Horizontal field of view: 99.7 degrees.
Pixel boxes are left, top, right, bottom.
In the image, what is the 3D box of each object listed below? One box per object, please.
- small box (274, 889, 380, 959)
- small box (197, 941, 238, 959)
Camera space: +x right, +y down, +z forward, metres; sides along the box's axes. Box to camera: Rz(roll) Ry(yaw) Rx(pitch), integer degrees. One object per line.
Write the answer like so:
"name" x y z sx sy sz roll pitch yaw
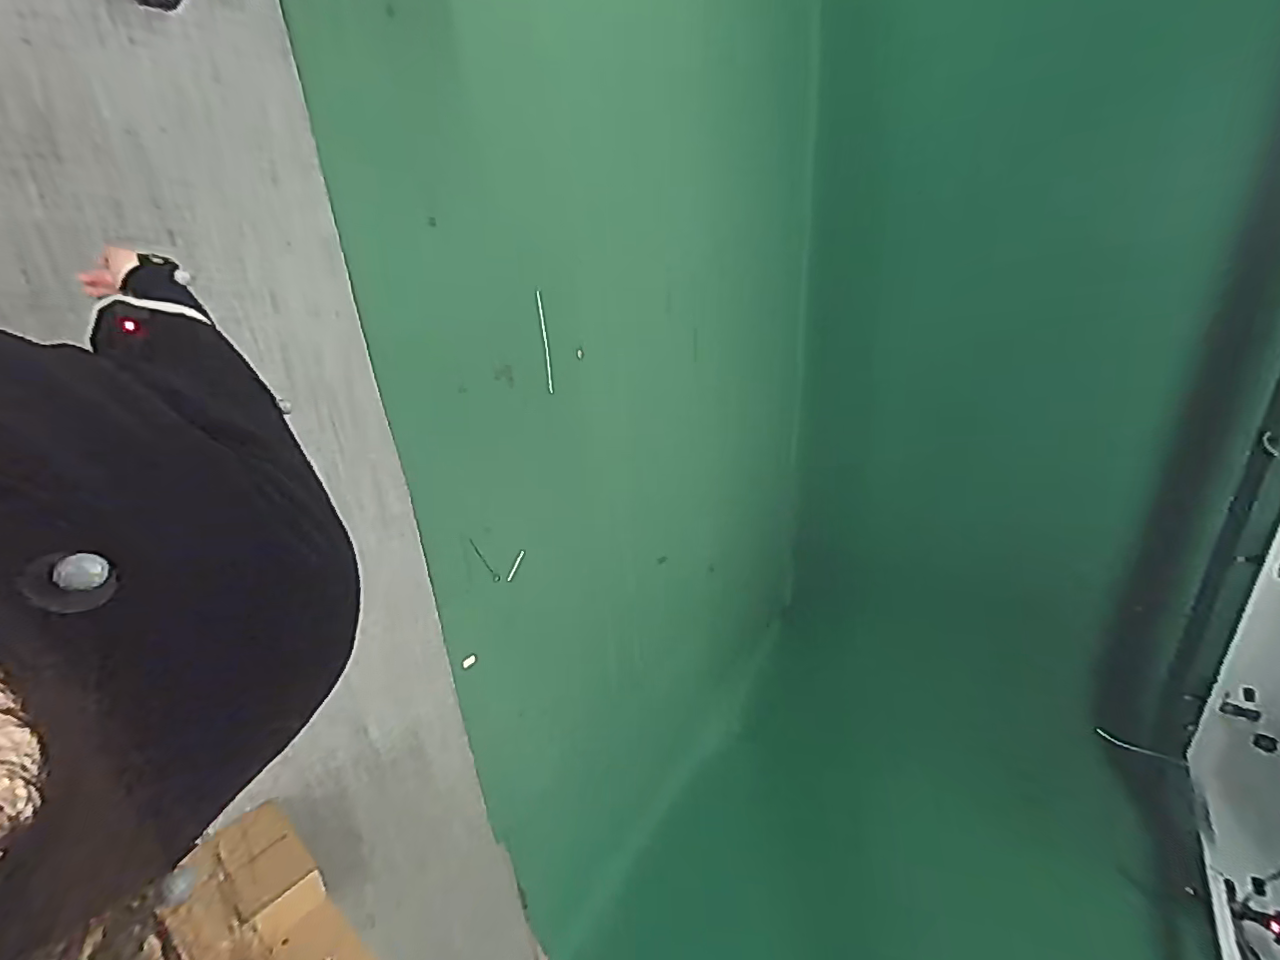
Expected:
"small box" -0.731 1.137 1.287 0.168 0.176 0.179 -29 124 -48
"small box" -0.873 1.092 1.074 0.179 0.176 0.168 -30 125 -46
